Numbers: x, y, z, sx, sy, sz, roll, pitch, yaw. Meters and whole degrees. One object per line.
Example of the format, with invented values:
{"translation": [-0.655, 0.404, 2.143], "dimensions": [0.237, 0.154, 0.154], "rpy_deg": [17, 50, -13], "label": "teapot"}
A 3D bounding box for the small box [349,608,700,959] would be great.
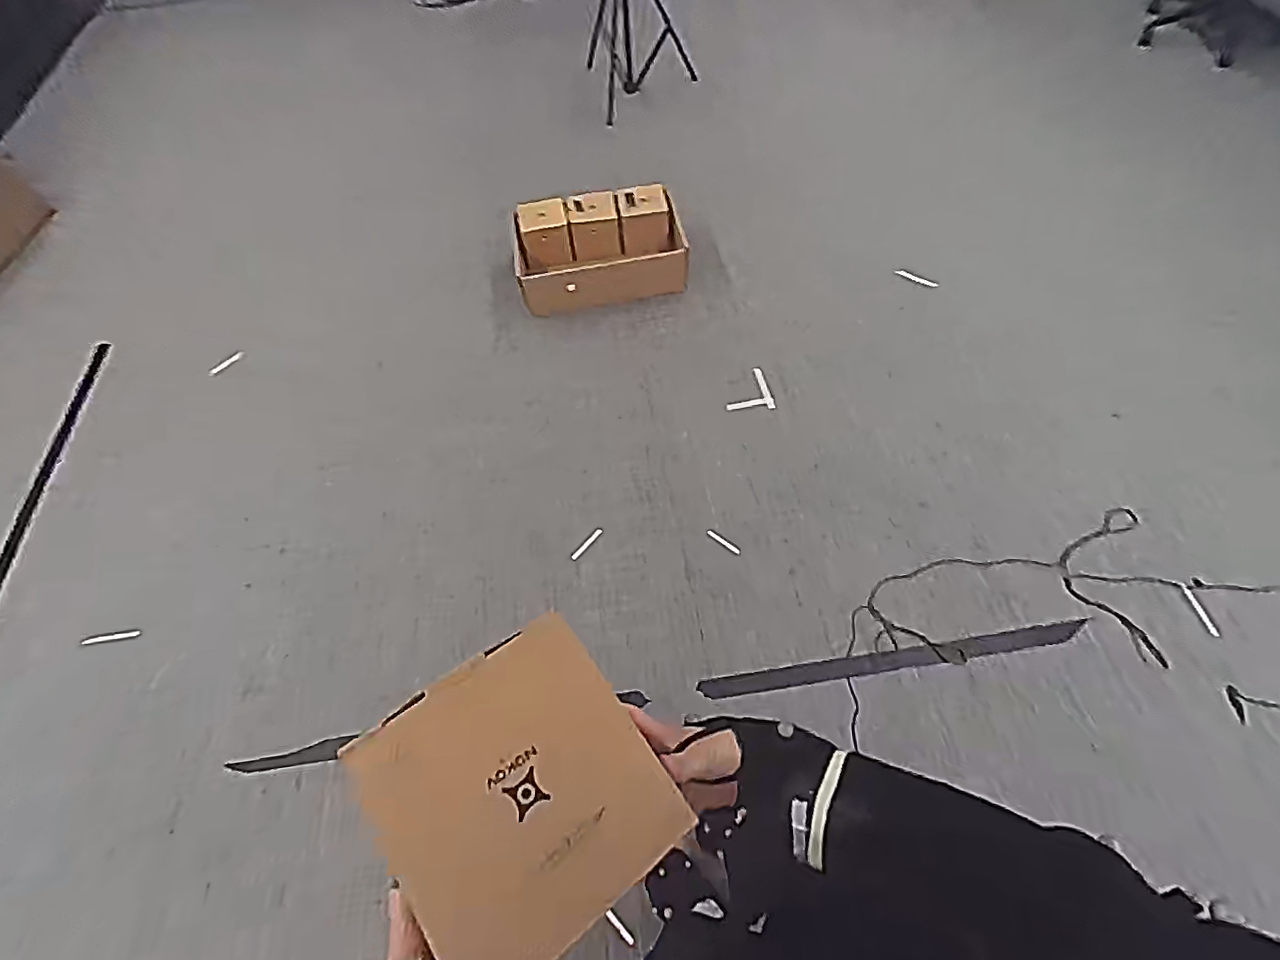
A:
{"translation": [-0.087, 0.232, 0.416], "dimensions": [0.168, 0.176, 0.179], "rpy_deg": [-30, 73, -24], "label": "small box"}
